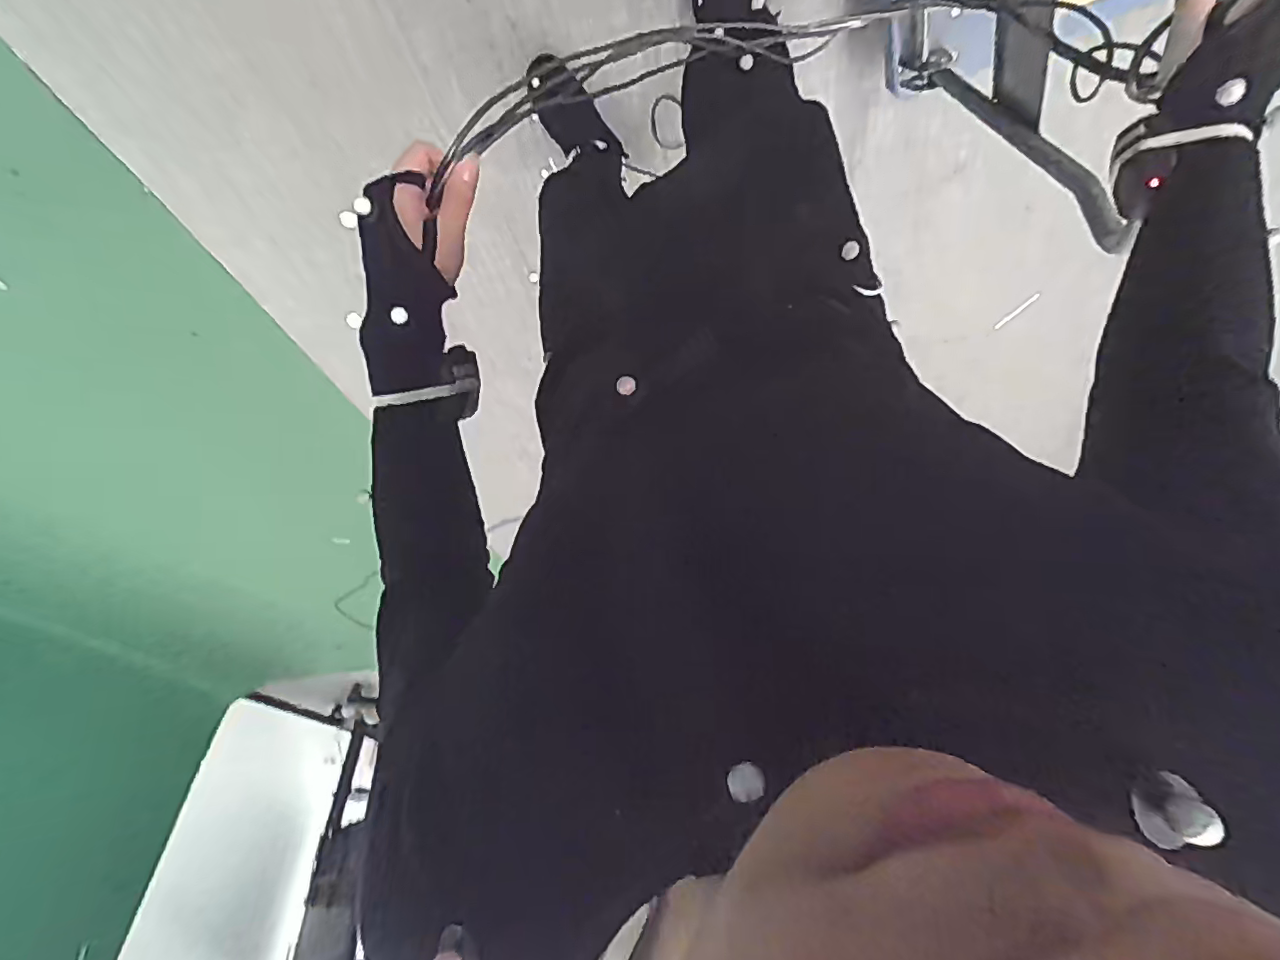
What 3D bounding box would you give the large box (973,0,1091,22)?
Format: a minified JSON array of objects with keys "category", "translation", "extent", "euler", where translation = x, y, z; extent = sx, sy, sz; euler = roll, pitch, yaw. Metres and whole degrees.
[{"category":"large box","translation":[0.654,-0.872,0.675],"extent":[0.408,0.320,0.320],"euler":[-15,138,14]}]
